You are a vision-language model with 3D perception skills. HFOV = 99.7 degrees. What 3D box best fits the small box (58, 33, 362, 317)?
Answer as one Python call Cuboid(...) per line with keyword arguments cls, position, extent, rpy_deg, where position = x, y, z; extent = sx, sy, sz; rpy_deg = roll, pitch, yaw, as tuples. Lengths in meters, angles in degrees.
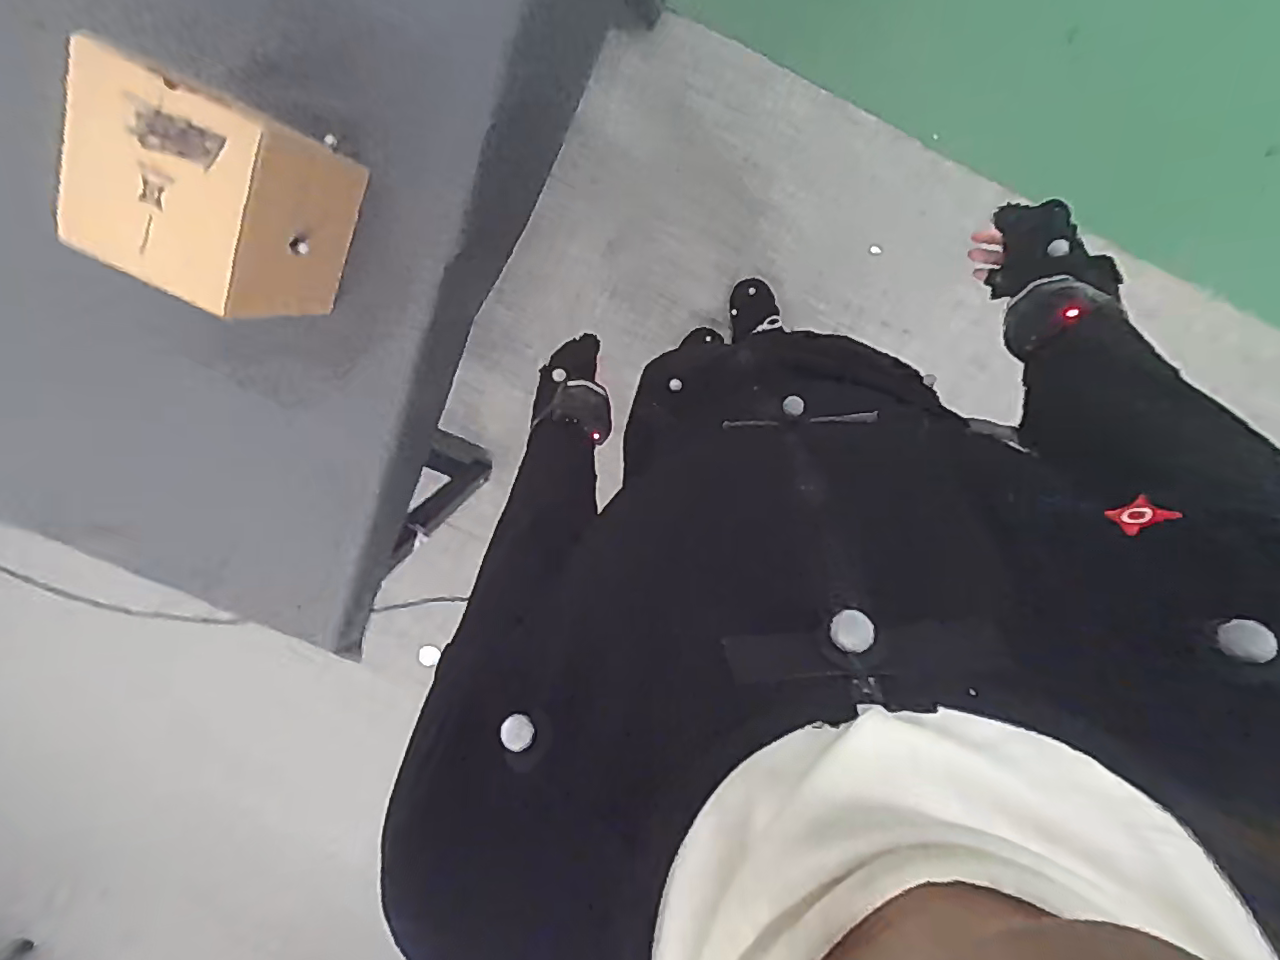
Cuboid(cls="small box", position=(-0.418, -0.287, 0.552), extent=(0.168, 0.176, 0.179), rpy_deg=(26, 109, -4))
